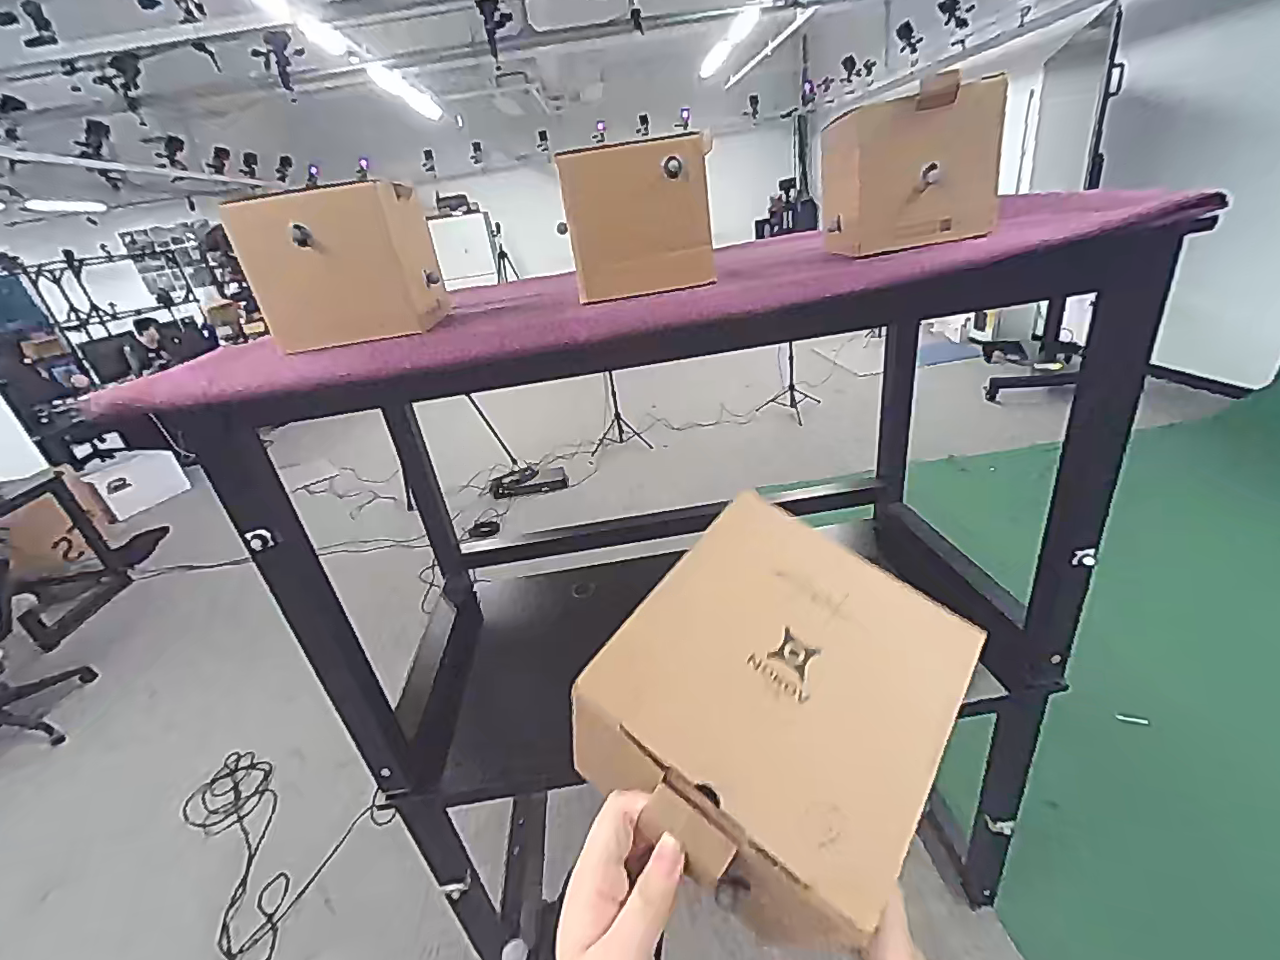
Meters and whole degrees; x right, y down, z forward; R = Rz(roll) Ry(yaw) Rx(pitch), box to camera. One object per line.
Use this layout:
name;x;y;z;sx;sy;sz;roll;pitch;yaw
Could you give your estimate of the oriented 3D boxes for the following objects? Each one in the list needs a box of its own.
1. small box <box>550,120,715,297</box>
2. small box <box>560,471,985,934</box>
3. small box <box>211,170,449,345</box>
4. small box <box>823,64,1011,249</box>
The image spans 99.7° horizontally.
small box;-0.009;-0.341;0.702;0.179;0.176;0.168;-9;25;-1
small box;0.069;0.135;0.343;0.168;0.176;0.179;34;55;18
small box;-0.365;-0.275;0.677;0.179;0.176;0.168;-9;28;-1
small box;0.347;-0.406;0.708;0.168;0.176;0.179;-8;25;6
